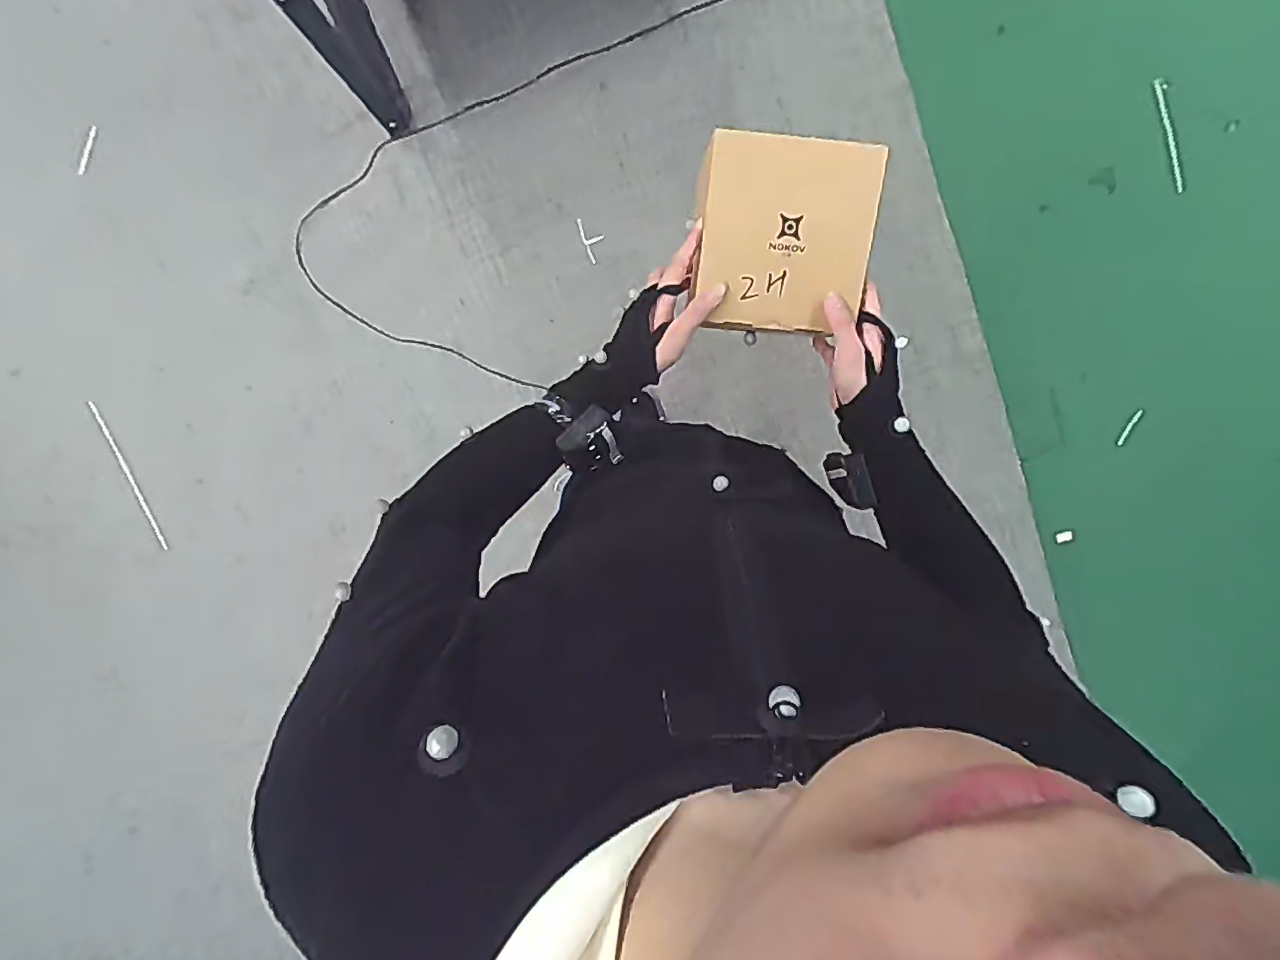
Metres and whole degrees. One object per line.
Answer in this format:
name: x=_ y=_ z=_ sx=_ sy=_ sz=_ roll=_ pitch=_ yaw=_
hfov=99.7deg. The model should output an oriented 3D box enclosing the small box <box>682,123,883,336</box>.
small box: x=0.139 y=-0.258 z=0.599 sx=0.168 sy=0.176 sz=0.179 roll=6 pitch=105 yaw=0
